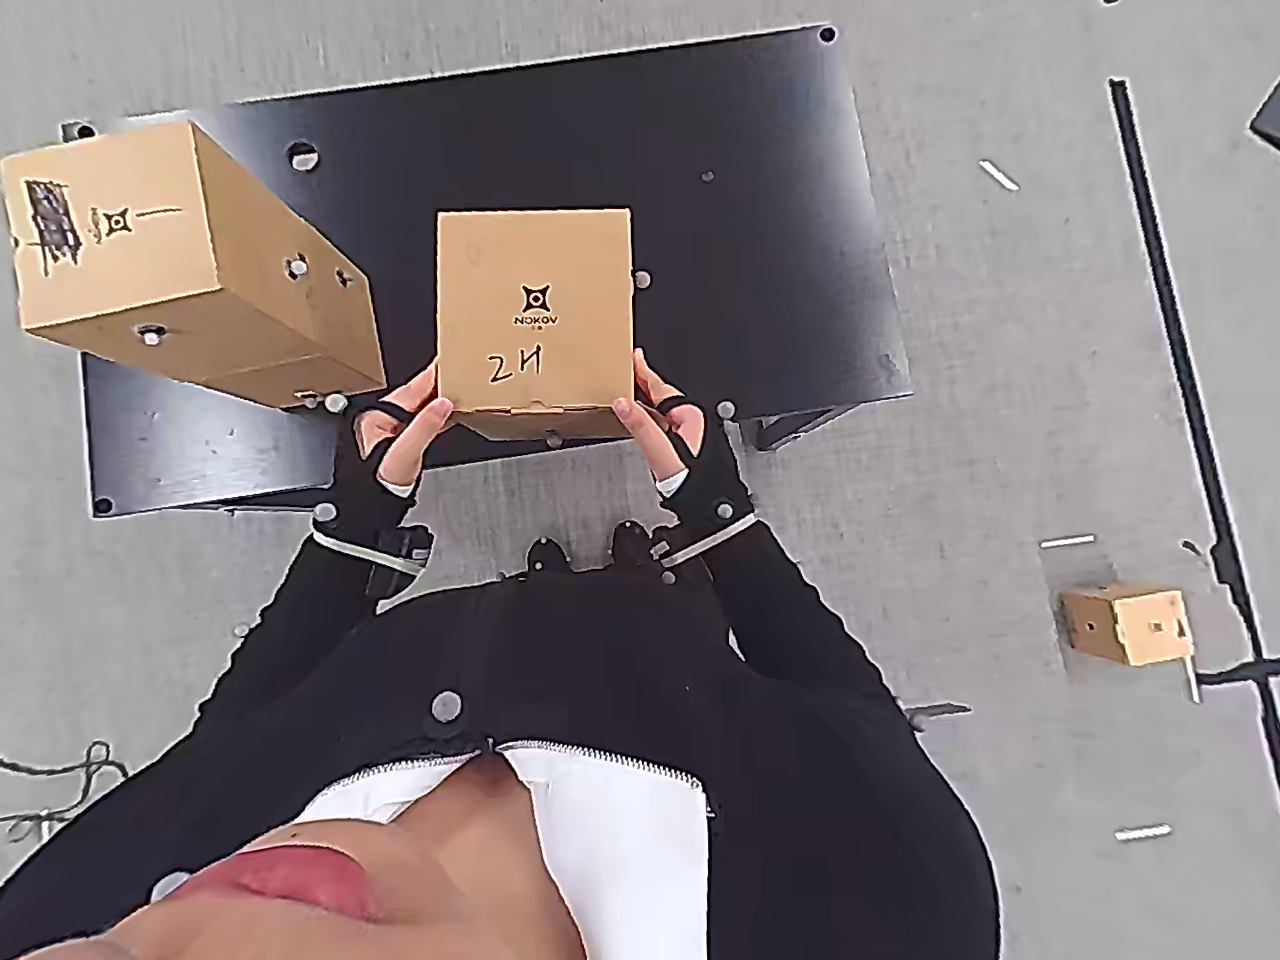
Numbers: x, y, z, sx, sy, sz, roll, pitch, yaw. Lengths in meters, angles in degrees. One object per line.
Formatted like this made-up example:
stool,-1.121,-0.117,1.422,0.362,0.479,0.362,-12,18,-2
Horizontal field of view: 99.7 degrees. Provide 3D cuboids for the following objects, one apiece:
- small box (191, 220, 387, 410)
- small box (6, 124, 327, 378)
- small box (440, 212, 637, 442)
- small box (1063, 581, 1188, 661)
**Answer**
small box,-0.466,-0.207,0.722,0.168,0.176,0.179,-13,87,-1
small box,-0.466,-0.217,0.558,0.179,0.176,0.168,-13,85,-2
small box,-0.088,-0.138,0.538,0.168,0.176,0.179,-1,86,-1
small box,1.267,0.367,1.431,0.179,0.176,0.168,-9,85,-1
